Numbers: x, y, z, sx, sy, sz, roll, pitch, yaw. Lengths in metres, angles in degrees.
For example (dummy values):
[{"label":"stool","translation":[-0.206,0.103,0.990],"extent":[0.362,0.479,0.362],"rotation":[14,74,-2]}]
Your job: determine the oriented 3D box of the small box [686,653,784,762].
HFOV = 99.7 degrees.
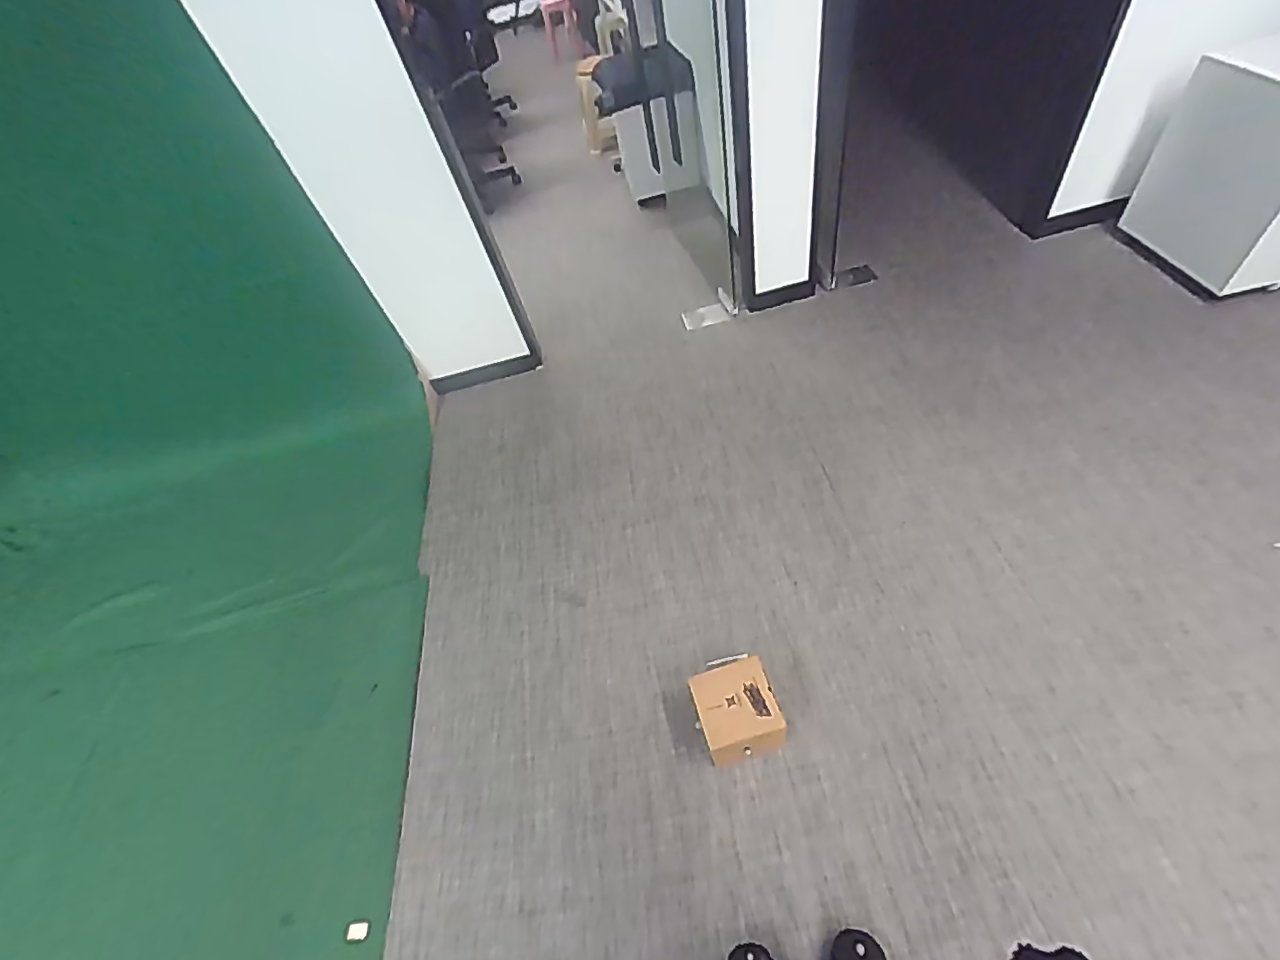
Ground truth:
[{"label":"small box","translation":[0.223,0.539,1.278],"extent":[0.179,0.176,0.168],"rotation":[-20,50,-3]}]
